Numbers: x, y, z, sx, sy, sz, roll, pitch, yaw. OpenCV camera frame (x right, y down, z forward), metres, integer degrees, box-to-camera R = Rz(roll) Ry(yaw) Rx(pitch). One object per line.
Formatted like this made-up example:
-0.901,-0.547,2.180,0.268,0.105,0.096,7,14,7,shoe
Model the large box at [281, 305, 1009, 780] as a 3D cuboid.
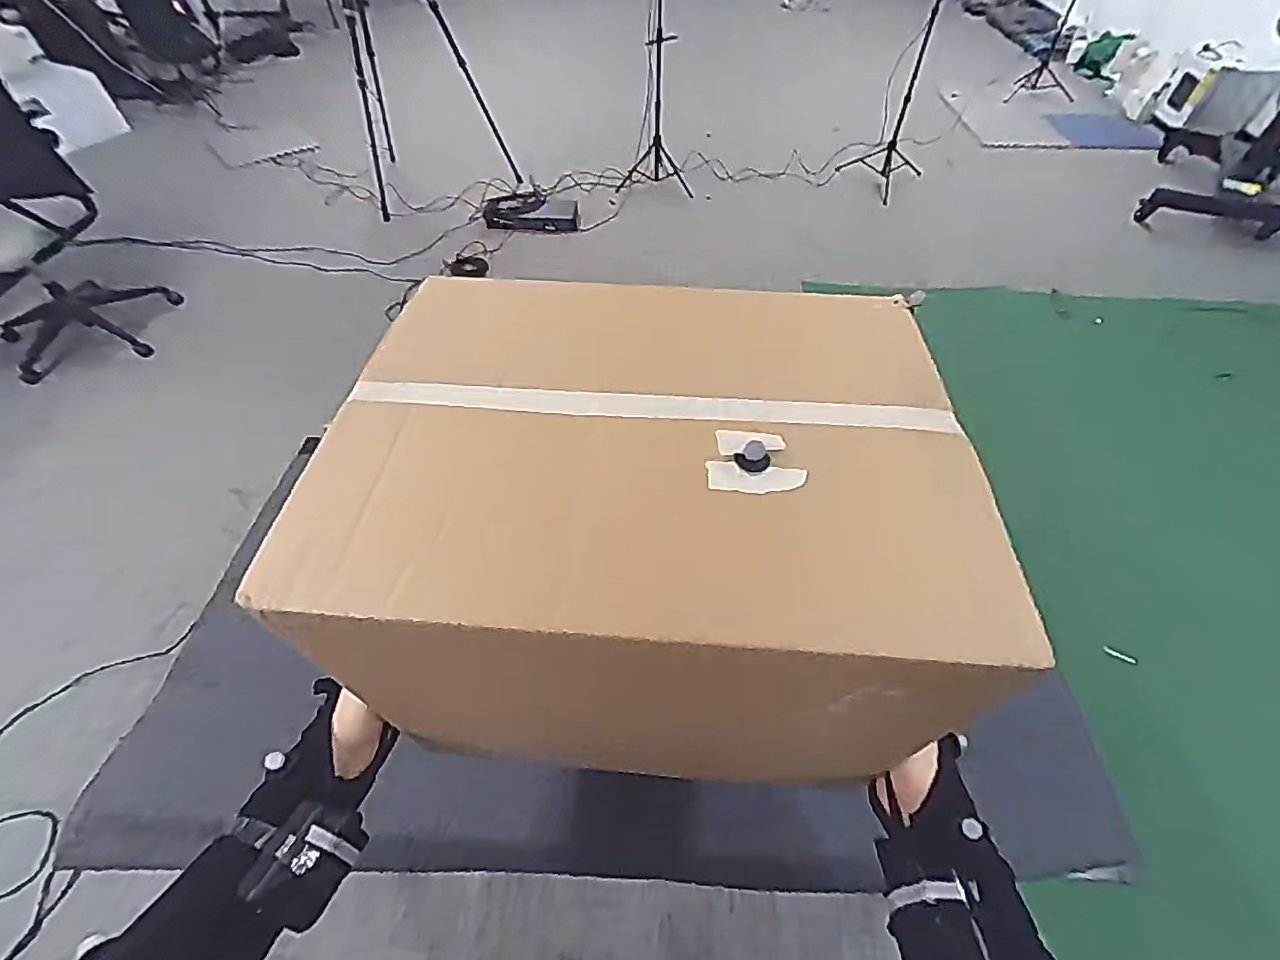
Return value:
0.005,0.062,0.498,0.408,0.320,0.320,3,51,2,large box
